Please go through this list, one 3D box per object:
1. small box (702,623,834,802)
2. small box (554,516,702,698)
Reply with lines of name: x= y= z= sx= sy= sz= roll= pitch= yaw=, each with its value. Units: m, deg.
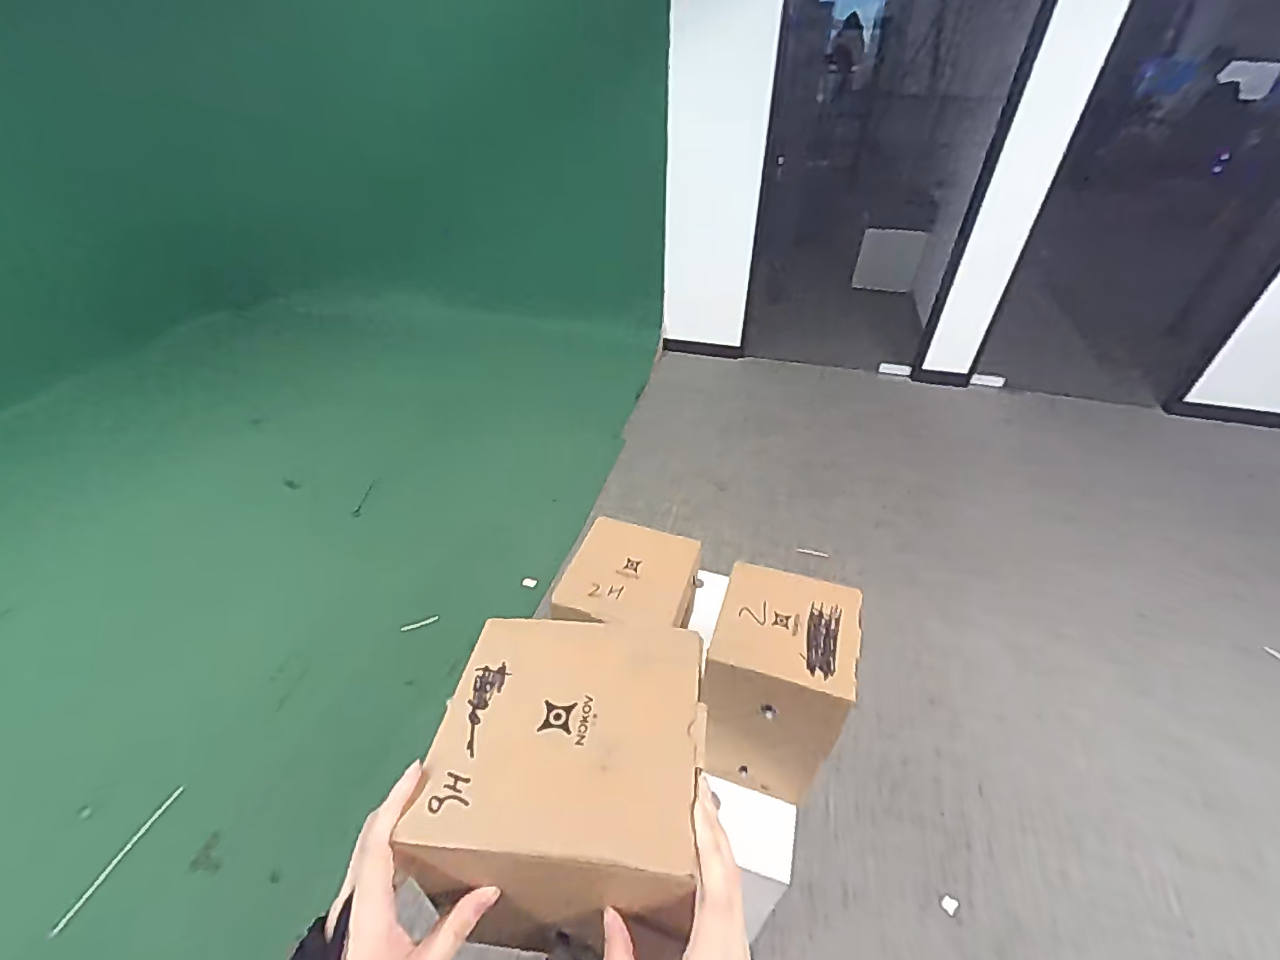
small box: x=0.198 y=0.364 z=0.853 sx=0.168 sy=0.176 sz=0.179 roll=12 pitch=42 yaw=16
small box: x=-0.014 y=0.187 z=0.808 sx=0.168 sy=0.176 sz=0.179 roll=13 pitch=42 yaw=14
